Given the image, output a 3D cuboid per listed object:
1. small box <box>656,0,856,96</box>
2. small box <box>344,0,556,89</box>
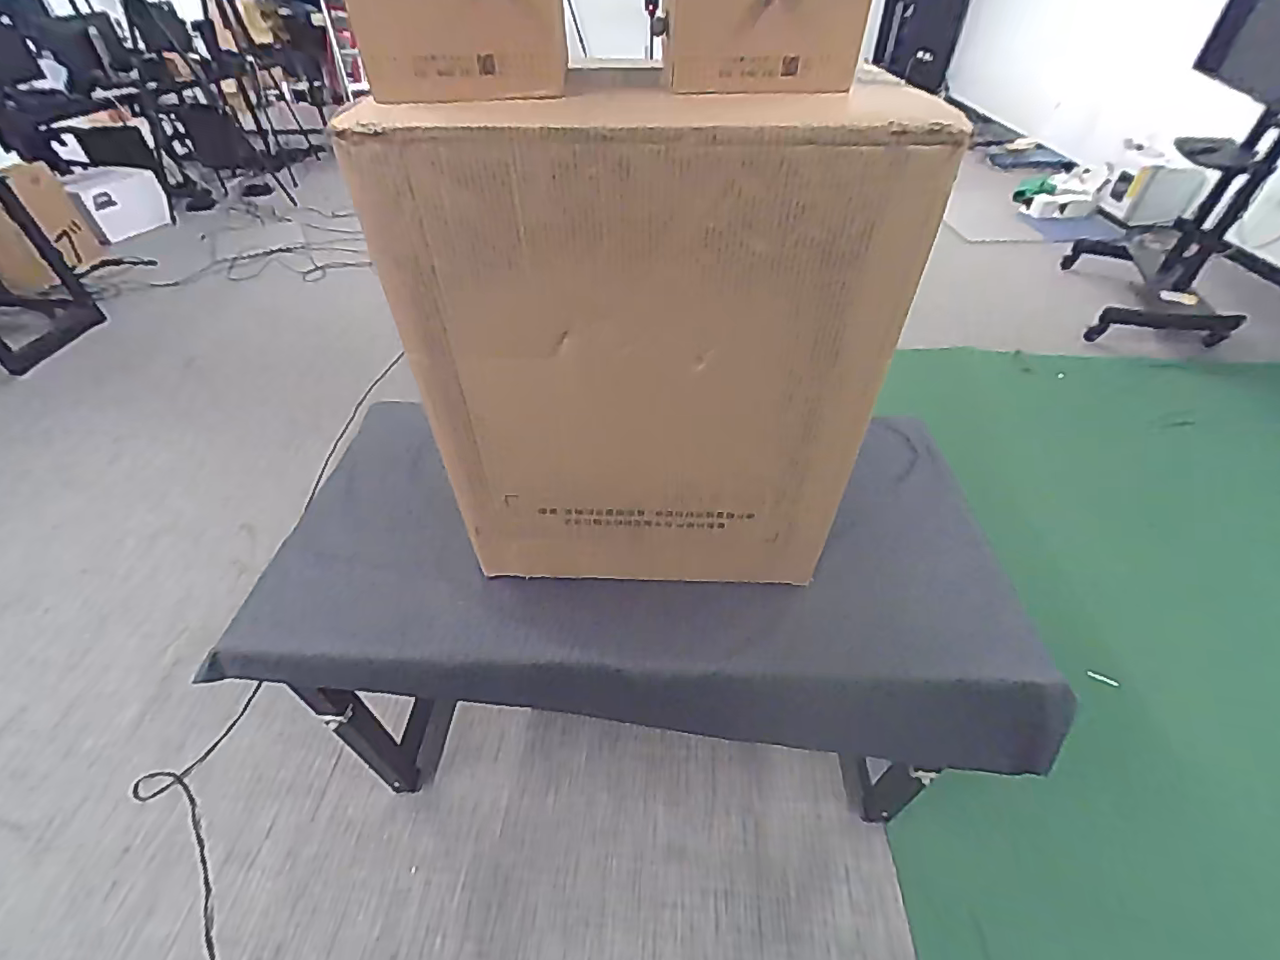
[{"bbox_3d":[0.100,-0.468,0.493,0.168,0.176,0.179,-2,47,-1],"label":"small box"},{"bbox_3d":[-0.167,-0.460,0.473,0.168,0.176,0.179,-6,48,-4],"label":"small box"}]
